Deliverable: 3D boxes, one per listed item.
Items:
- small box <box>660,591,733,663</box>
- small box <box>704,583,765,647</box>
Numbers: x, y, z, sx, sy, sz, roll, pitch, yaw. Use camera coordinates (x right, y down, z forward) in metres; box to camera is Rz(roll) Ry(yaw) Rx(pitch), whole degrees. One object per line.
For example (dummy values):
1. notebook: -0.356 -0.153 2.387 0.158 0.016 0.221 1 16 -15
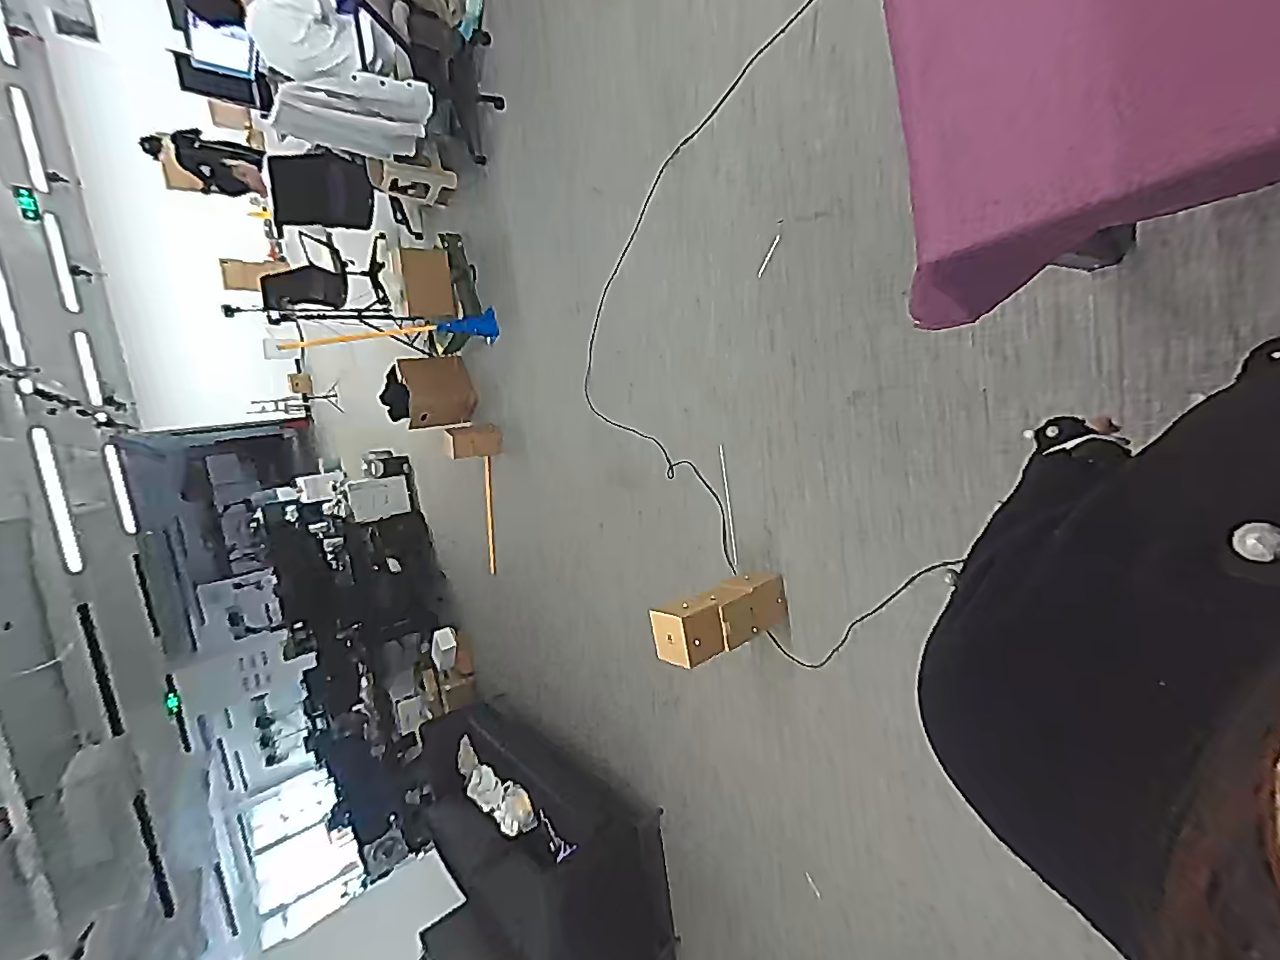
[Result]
1. small box: 0.195 0.494 1.845 0.168 0.176 0.179 -3 99 54
2. small box: 0.330 0.476 1.937 0.179 0.176 0.168 -4 97 55
